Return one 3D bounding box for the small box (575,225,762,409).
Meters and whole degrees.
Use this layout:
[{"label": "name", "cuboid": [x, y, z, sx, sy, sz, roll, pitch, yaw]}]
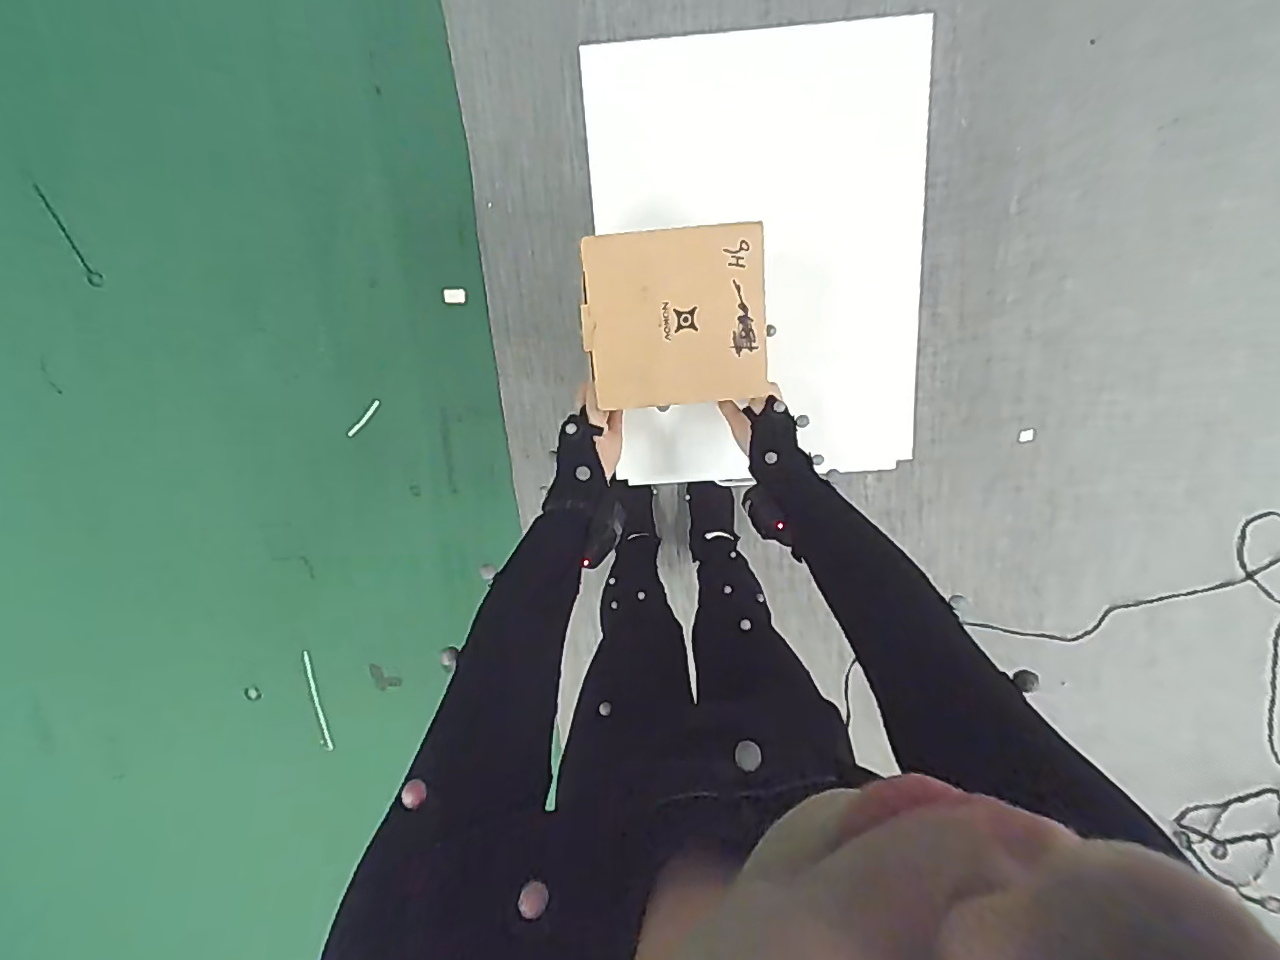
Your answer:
[{"label": "small box", "cuboid": [0.030, -0.172, 0.602, 0.179, 0.176, 0.168, -5, 104, 1]}]
